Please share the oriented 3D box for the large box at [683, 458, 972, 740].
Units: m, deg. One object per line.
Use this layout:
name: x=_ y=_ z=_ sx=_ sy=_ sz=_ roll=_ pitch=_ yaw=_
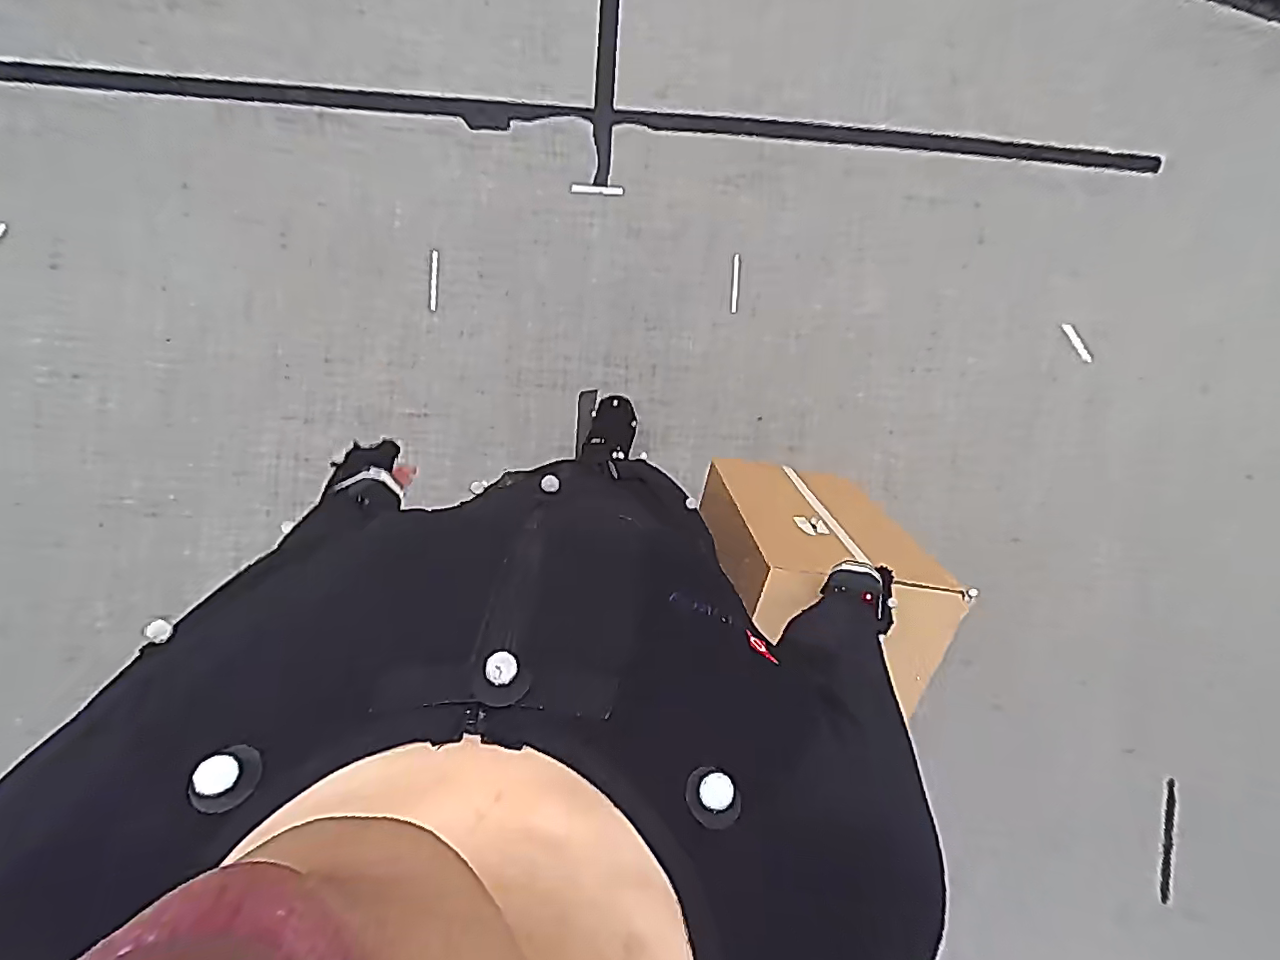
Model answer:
large box: x=0.289 y=0.196 z=0.999 sx=0.320 sy=0.408 sz=0.320 roll=8 pitch=114 yaw=-8
